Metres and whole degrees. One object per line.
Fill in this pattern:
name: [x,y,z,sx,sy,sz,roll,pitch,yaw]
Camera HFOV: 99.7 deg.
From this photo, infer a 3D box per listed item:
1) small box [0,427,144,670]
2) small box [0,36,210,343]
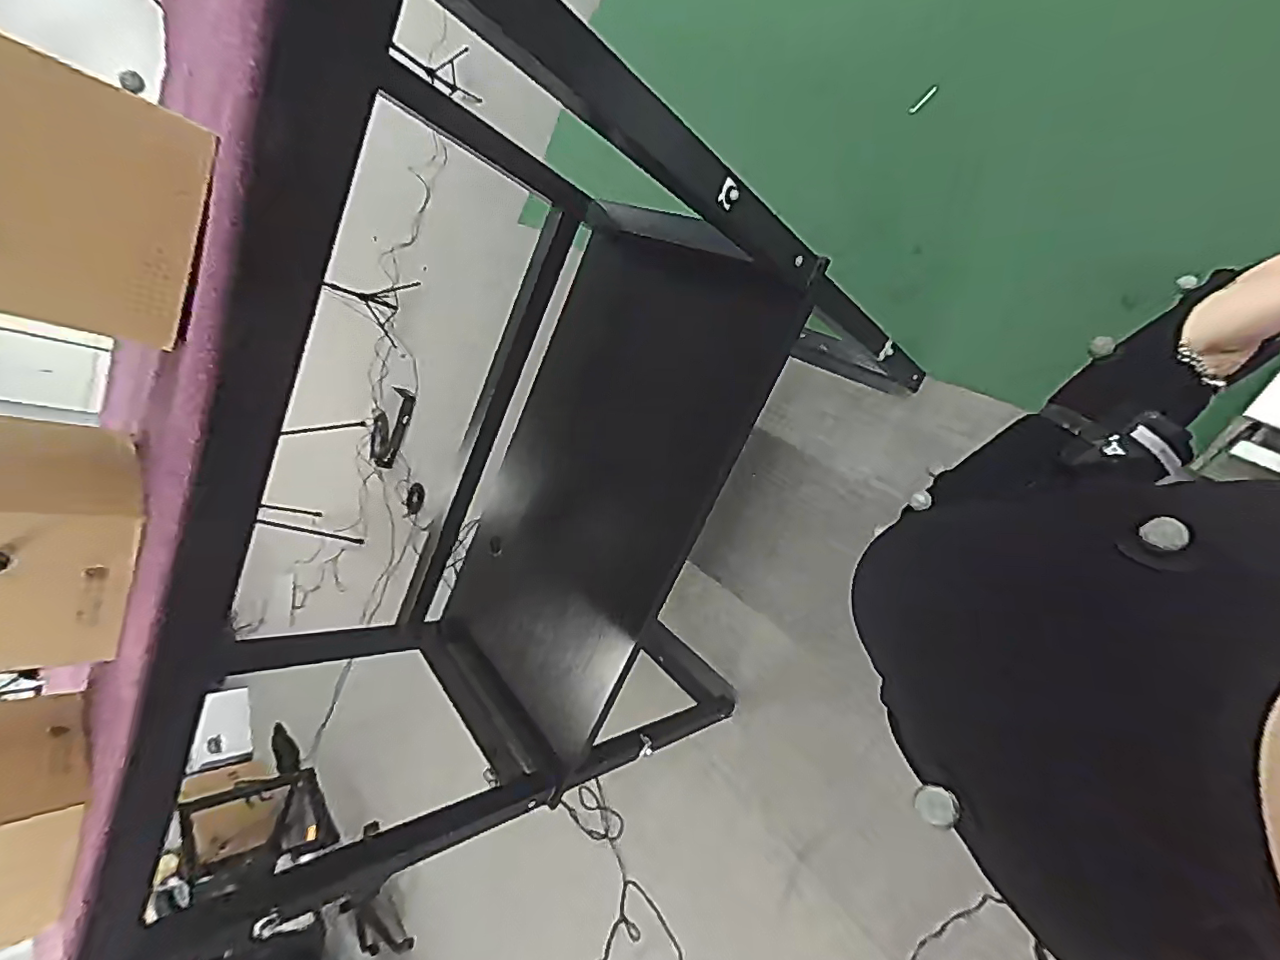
small box: [-0.574,0.055,0.485,0.179,0.176,0.168,38,107,38]
small box: [-0.455,-0.226,0.417,0.168,0.176,0.179,36,107,40]
